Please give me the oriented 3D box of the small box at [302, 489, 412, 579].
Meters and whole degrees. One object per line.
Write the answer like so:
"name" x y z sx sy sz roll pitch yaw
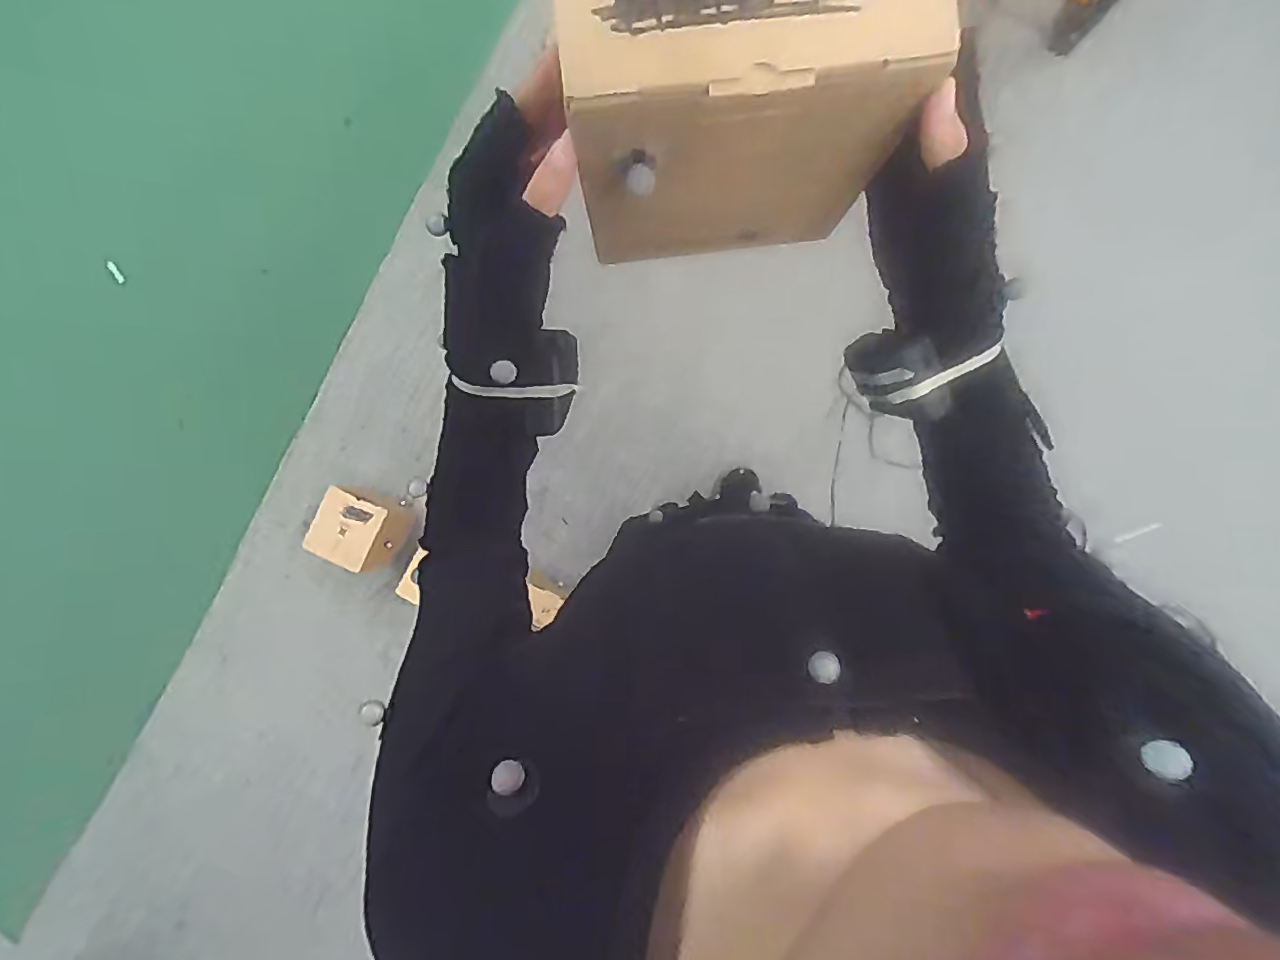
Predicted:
"small box" -0.729 0.138 1.418 0.168 0.176 0.179 24 88 3

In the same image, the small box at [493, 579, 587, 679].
"small box" -0.247 0.373 1.388 0.168 0.176 0.179 26 87 2
